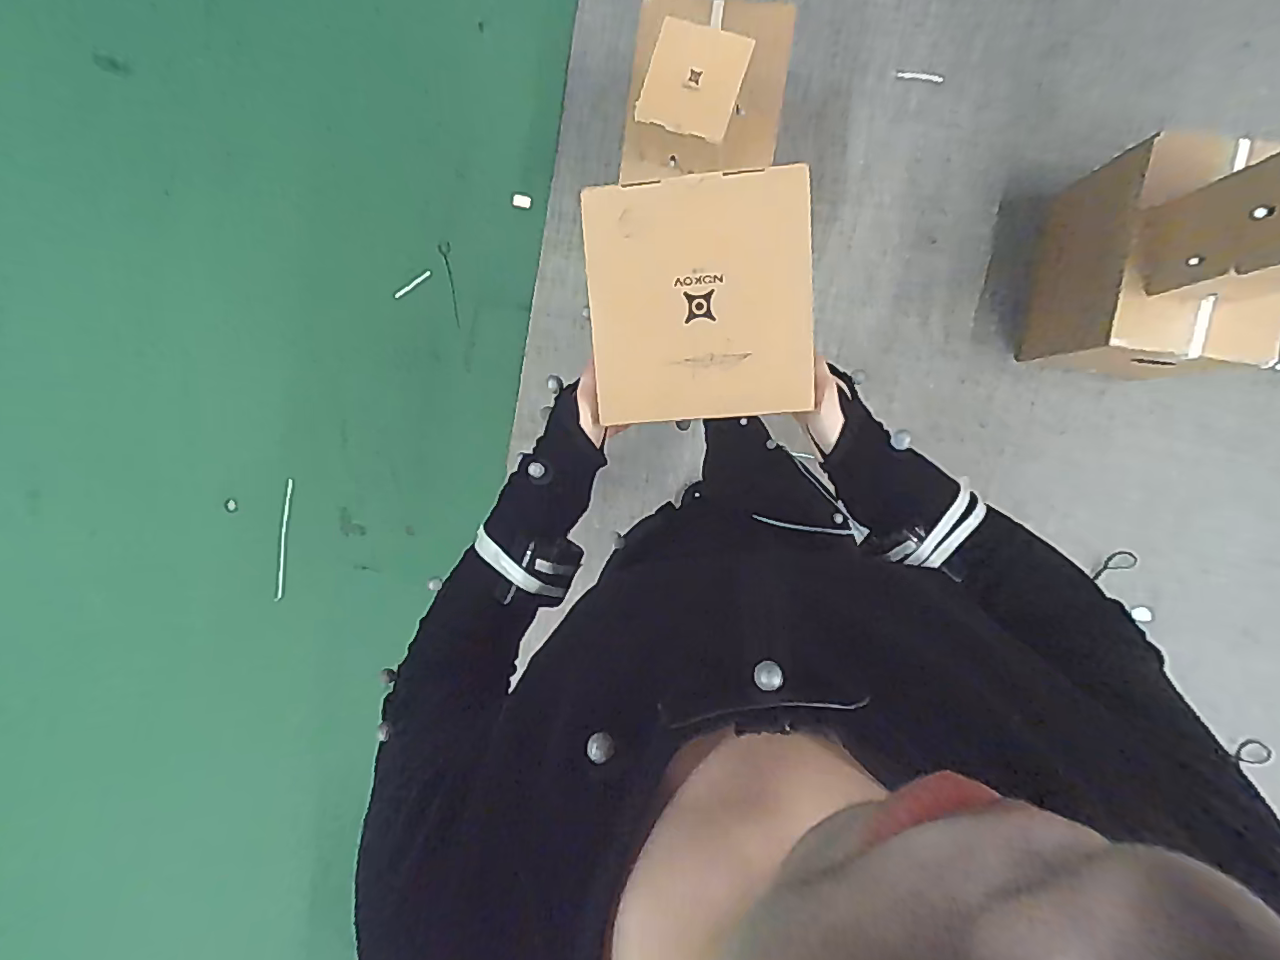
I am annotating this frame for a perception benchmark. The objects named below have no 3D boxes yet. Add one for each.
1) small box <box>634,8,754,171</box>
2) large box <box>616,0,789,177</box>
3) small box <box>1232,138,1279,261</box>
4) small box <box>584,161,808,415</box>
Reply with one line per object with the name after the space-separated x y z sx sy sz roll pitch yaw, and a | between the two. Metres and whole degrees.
0.100 -0.717 1.019 0.168 0.176 0.179 19 98 5 | small box
0.140 -0.790 1.256 0.320 0.320 0.408 9 95 5 | large box
1.047 -0.431 0.799 0.168 0.176 0.179 1 96 6 | small box
0.049 -0.152 0.483 0.168 0.176 0.179 -3 100 6 | small box
